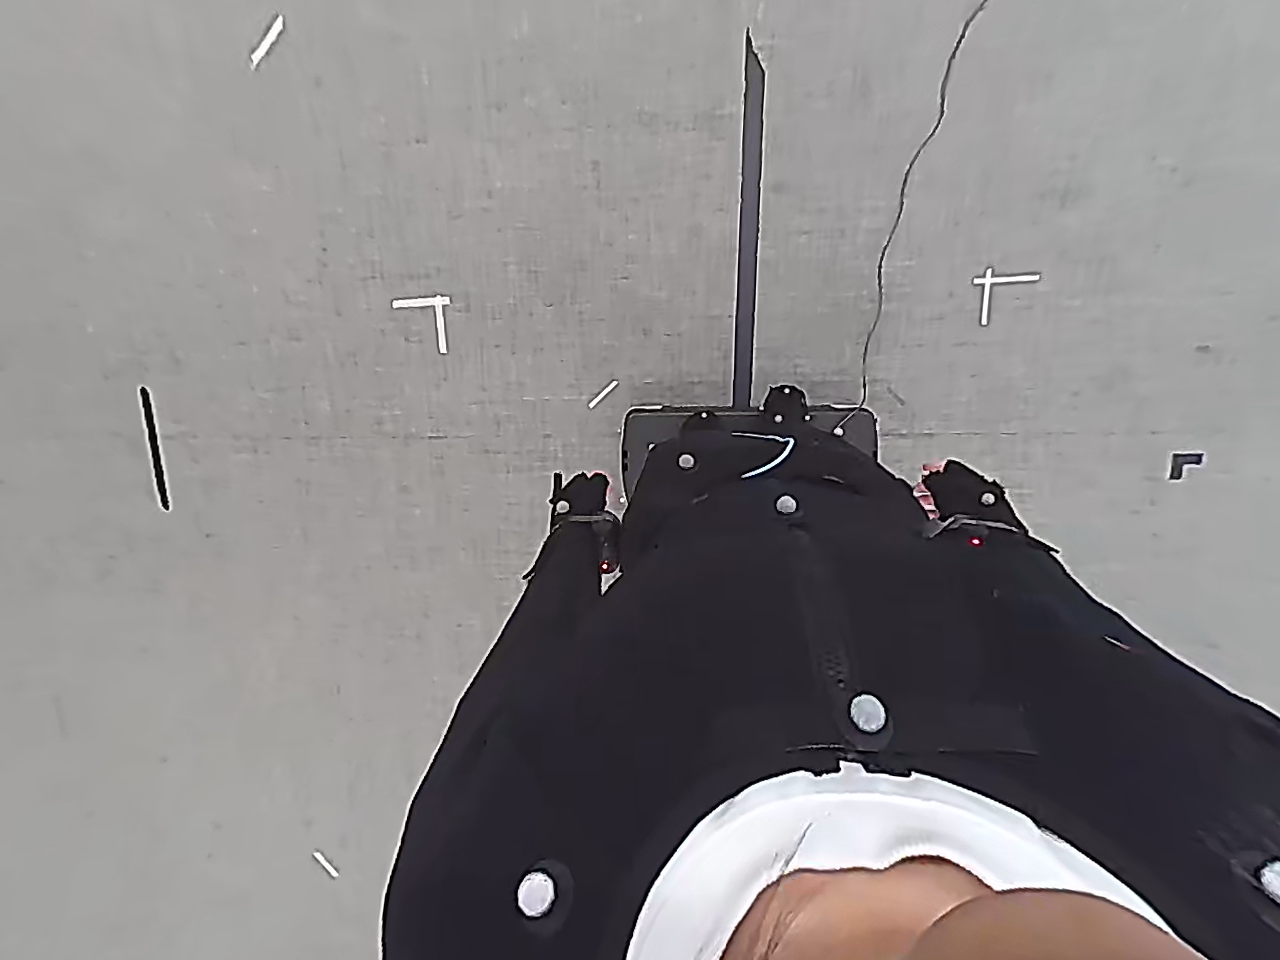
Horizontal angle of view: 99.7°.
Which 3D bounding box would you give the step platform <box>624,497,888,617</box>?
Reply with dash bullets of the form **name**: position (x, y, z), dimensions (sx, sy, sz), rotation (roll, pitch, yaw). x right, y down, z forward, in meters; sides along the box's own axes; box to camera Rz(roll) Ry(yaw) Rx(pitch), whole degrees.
- **step platform**: position (0.296, 0.202, 1.463), dimensions (0.684, 0.204, 0.286), rotation (0, 99, 8)
